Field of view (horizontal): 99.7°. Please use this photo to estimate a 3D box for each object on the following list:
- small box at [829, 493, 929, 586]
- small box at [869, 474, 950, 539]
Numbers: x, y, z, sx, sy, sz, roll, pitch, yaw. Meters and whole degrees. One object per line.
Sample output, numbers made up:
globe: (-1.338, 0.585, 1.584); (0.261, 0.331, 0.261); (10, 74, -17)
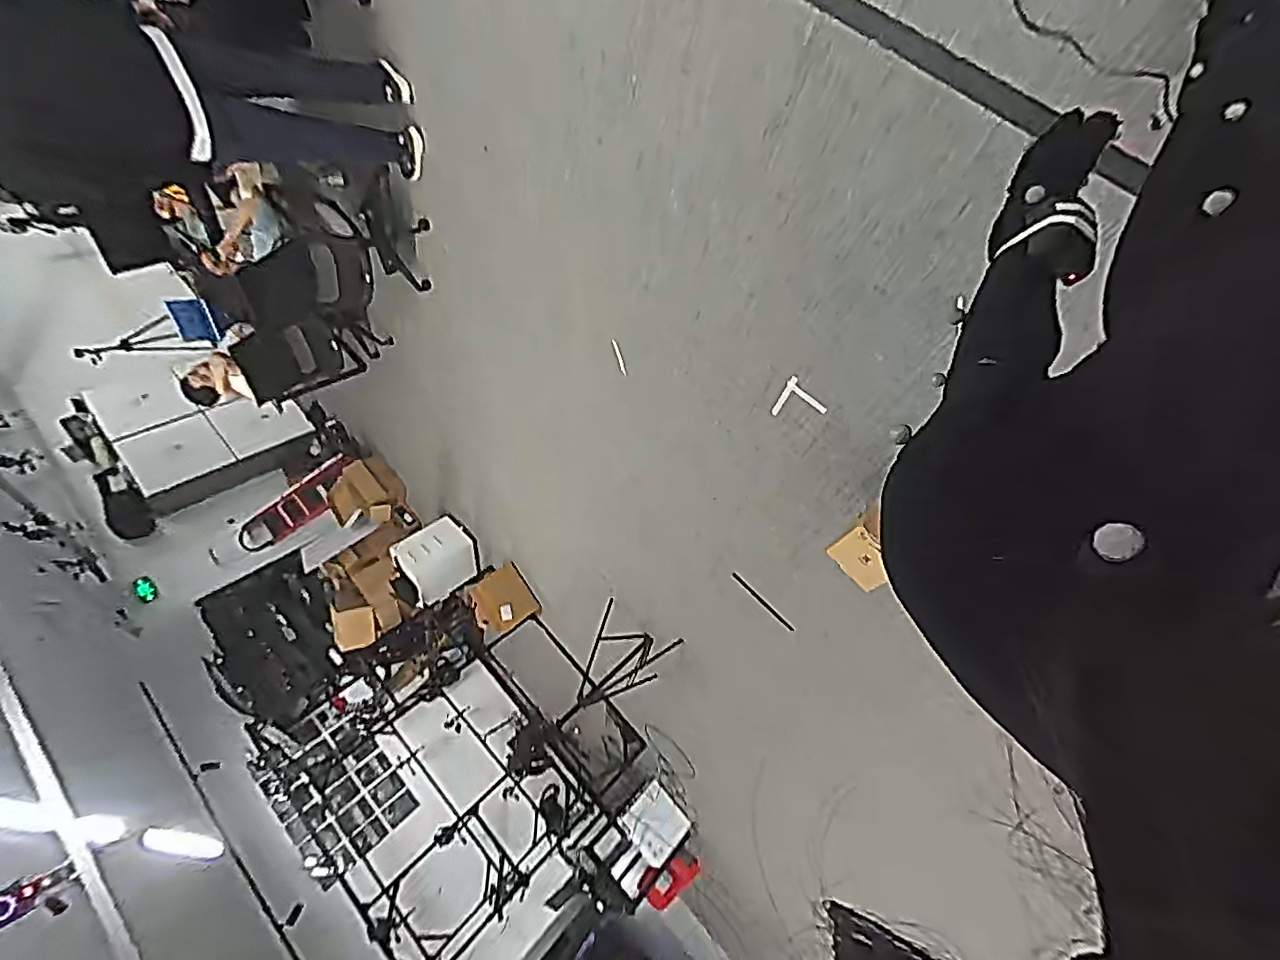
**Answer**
small box: (0.689, 0.170, 1.555); (0.168, 0.176, 0.179); (46, 146, 13)
small box: (0.802, 0.105, 1.656); (0.179, 0.176, 0.168); (42, 144, 18)
